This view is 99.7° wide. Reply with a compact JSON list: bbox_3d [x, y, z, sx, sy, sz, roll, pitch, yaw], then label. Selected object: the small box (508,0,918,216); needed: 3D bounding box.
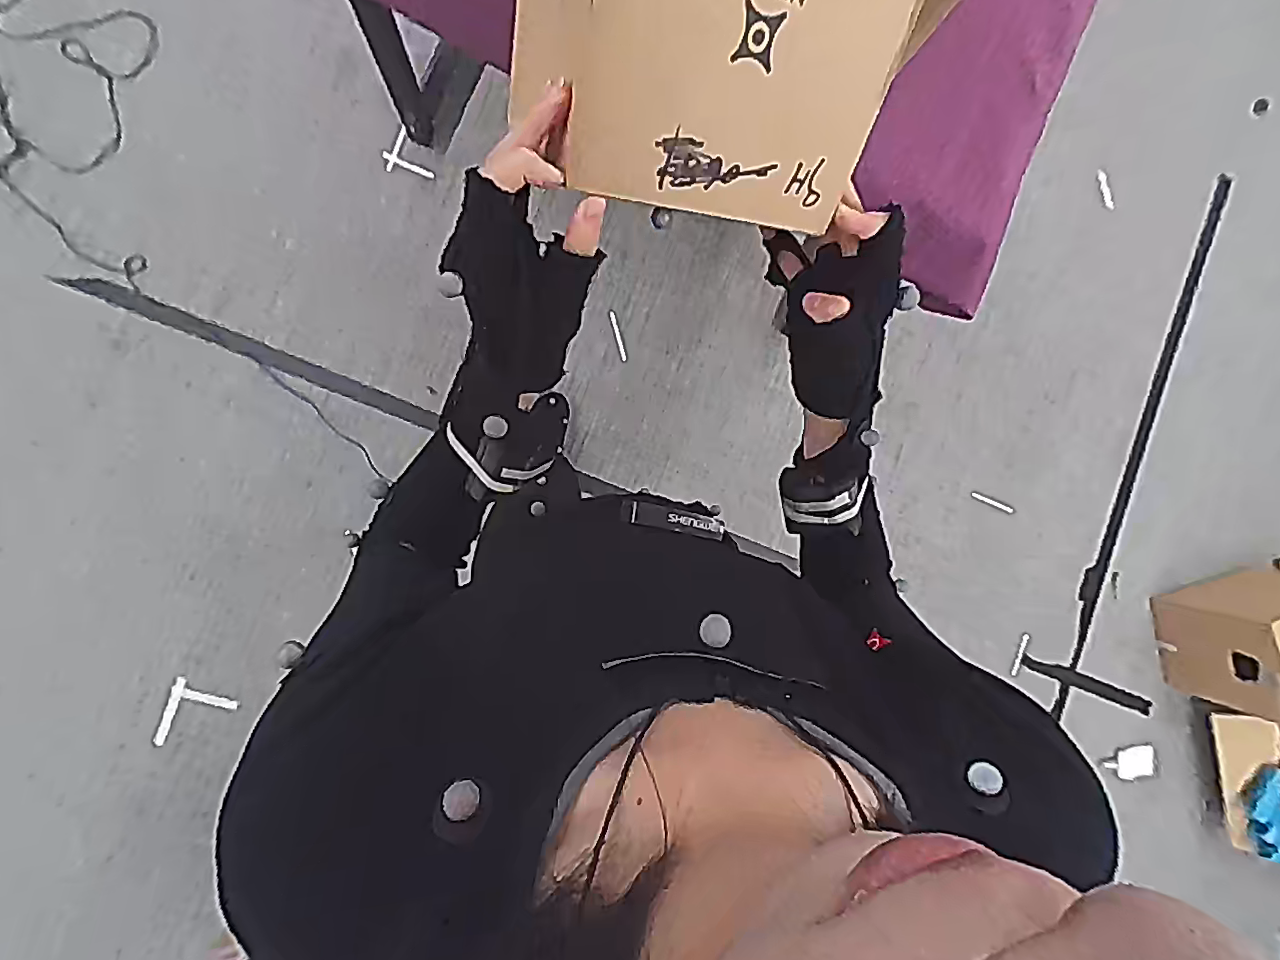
[{"bbox_3d":[0.029,-0.269,0.293,0.168,0.176,0.179,-2,129,-24],"label":"small box"}]
